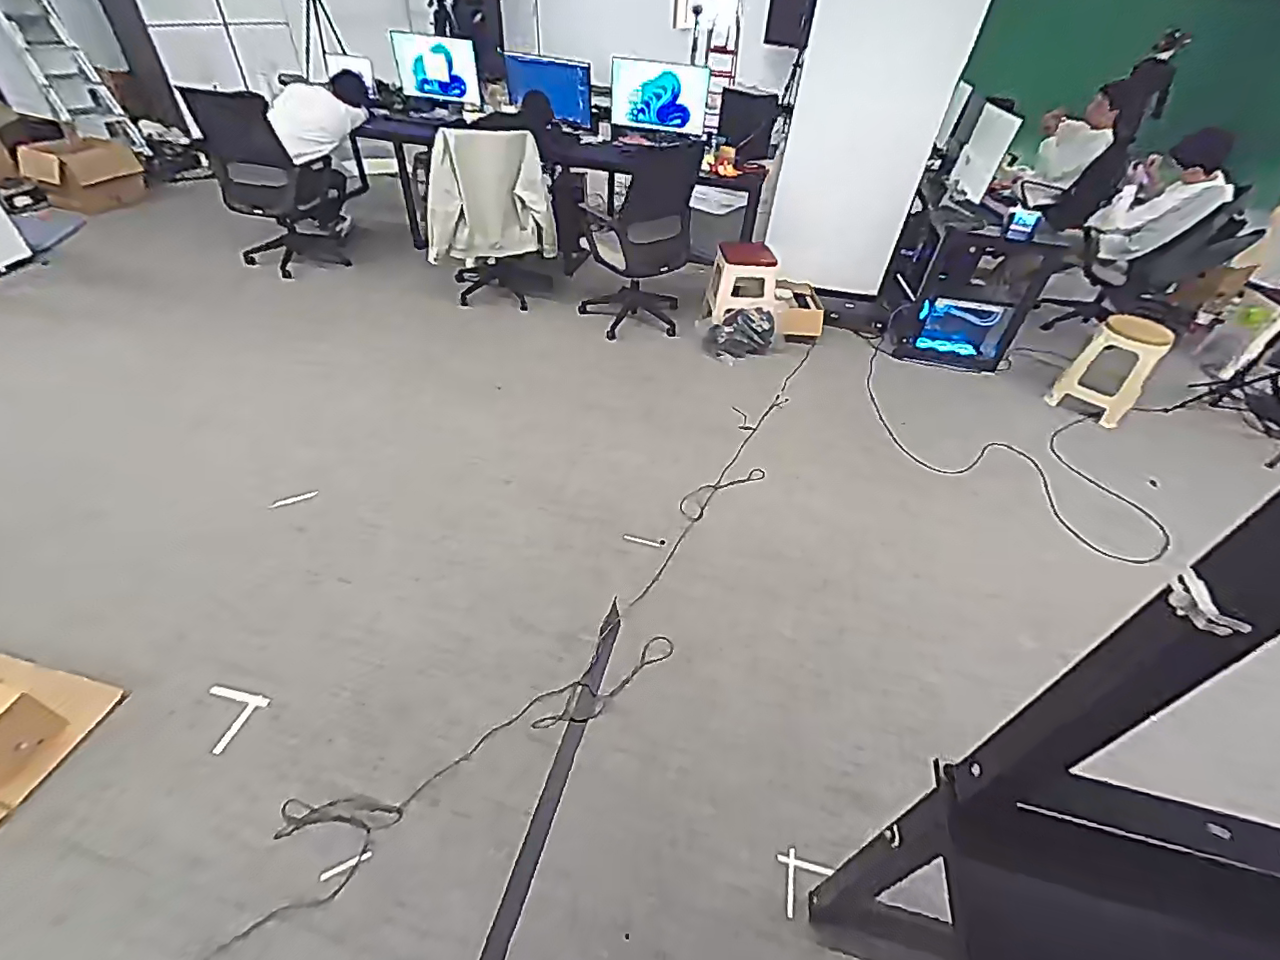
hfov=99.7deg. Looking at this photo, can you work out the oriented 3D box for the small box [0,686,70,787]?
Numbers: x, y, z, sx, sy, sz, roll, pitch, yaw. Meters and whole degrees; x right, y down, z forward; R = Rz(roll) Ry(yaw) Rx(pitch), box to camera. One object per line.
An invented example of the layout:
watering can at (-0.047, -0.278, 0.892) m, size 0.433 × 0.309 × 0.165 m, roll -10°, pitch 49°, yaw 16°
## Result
small box at (-1.567, 0.611, 1.302) m, size 0.179 × 0.176 × 0.168 m, roll 13°, pitch 43°, yaw 7°
